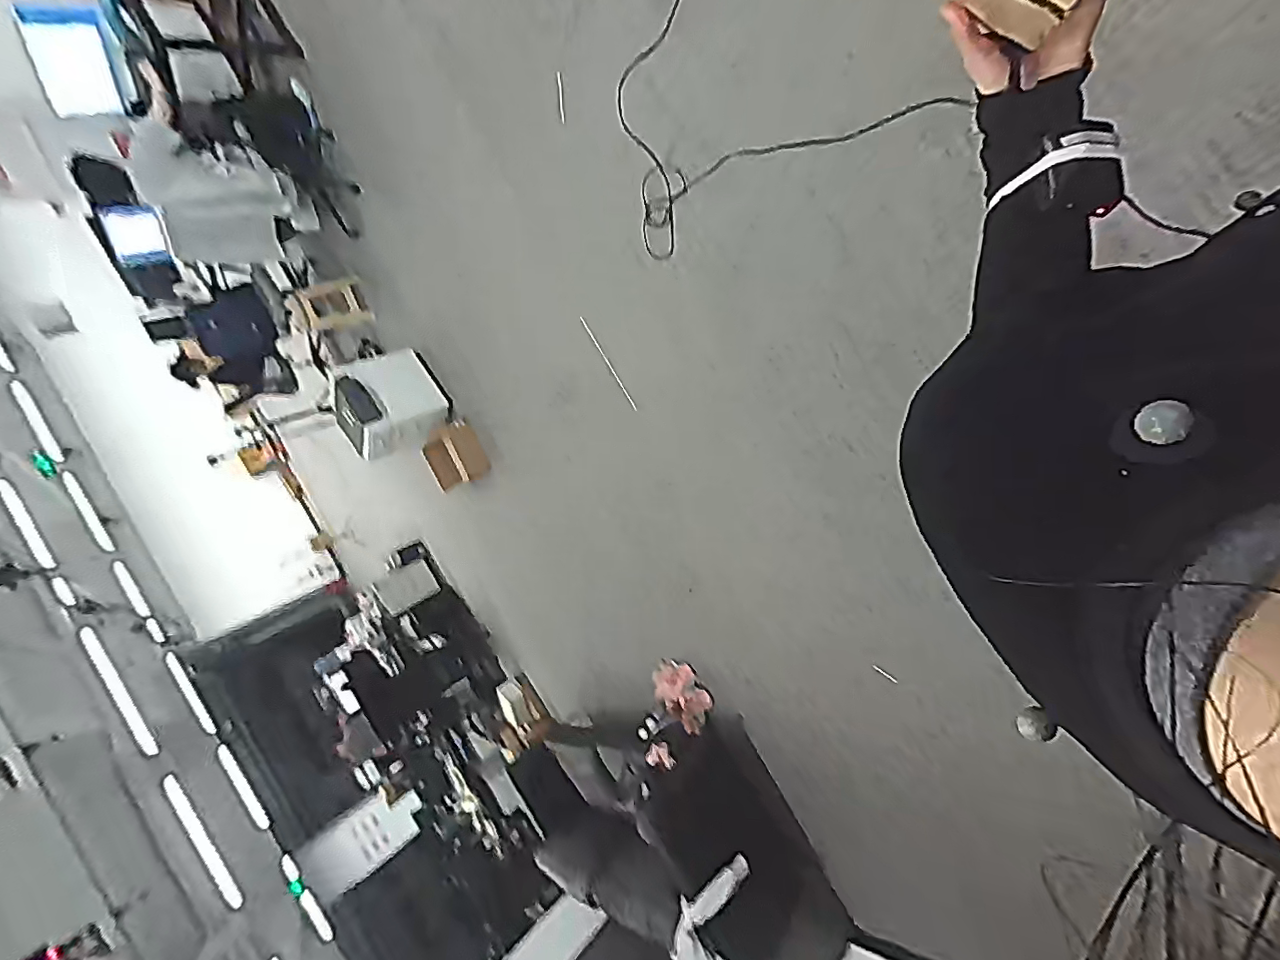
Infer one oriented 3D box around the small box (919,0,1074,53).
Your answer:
[{"bbox_3d":[0.248,-0.420,0.343,0.179,0.168,0.176,35,130,6],"label":"small box"}]
